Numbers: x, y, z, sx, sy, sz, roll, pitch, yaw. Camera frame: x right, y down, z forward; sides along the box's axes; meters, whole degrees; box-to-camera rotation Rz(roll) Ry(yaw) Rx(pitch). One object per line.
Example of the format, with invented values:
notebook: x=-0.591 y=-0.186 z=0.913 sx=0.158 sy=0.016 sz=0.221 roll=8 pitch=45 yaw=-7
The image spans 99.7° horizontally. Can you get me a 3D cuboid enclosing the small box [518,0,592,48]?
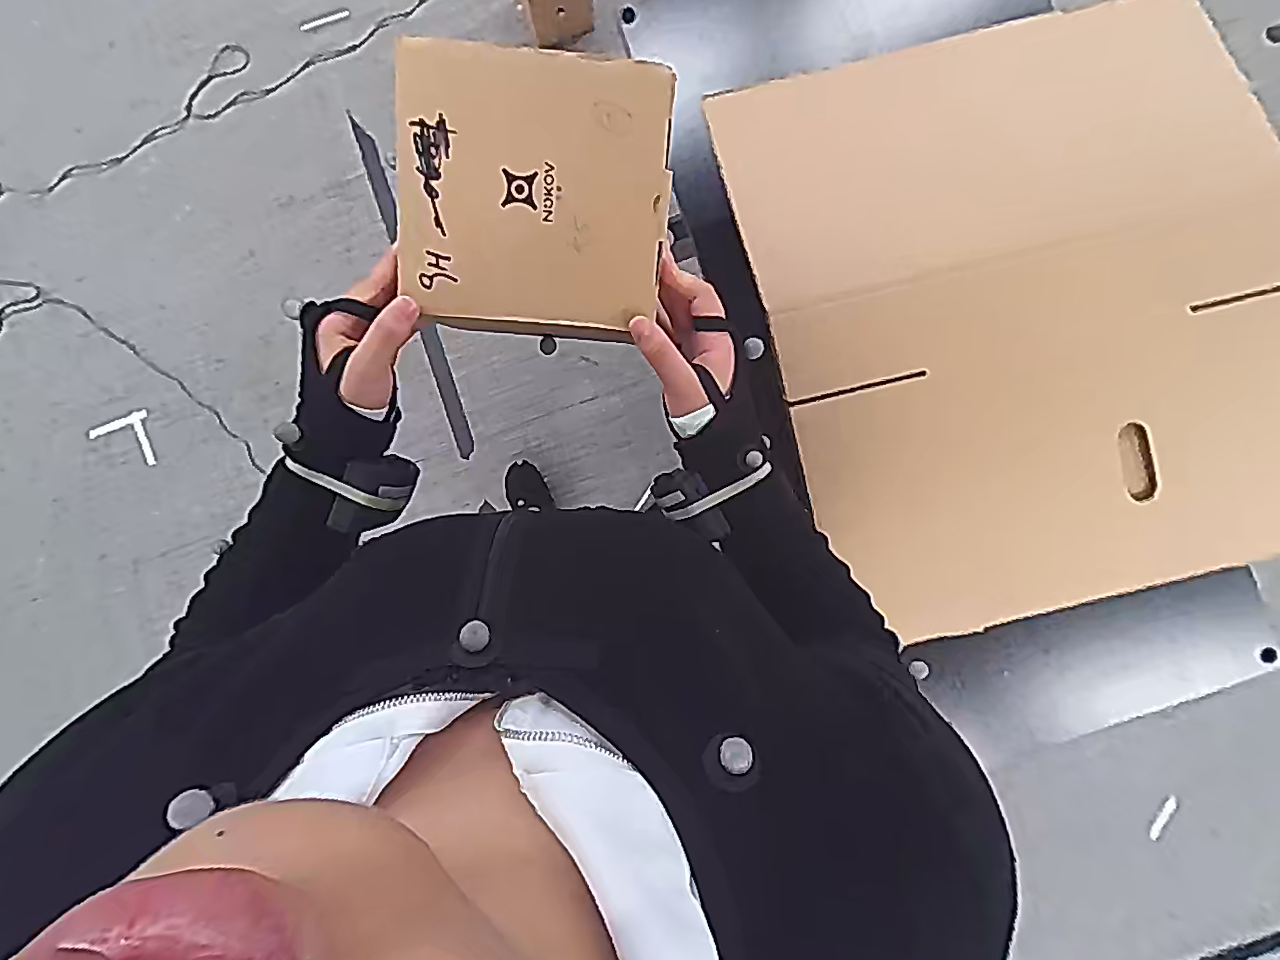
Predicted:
small box: x=-0.237 y=-1.320 z=1.446 sx=0.179 sy=0.176 sz=0.168 roll=-23 pitch=89 yaw=0

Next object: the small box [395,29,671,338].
small box: x=-0.079 y=-0.209 z=0.435 sx=0.179 sy=0.176 sz=0.168 roll=3 pitch=100 yaw=-6
